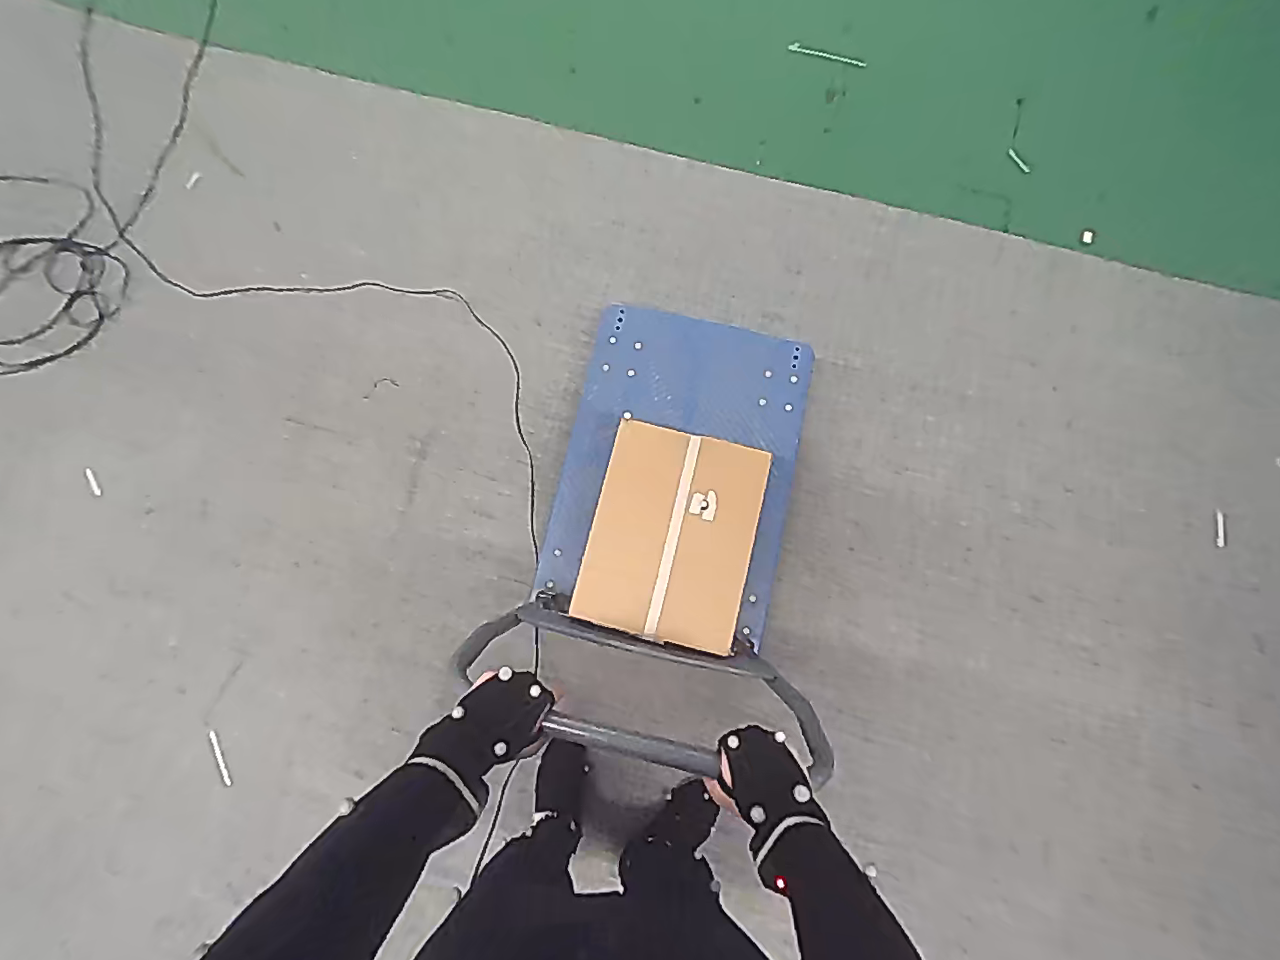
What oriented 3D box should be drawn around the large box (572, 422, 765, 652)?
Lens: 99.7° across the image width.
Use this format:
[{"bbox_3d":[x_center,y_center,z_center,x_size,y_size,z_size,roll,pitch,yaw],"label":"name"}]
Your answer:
[{"bbox_3d":[0.063,0.134,1.201,0.320,0.320,0.408,14,79,3],"label":"large box"}]
